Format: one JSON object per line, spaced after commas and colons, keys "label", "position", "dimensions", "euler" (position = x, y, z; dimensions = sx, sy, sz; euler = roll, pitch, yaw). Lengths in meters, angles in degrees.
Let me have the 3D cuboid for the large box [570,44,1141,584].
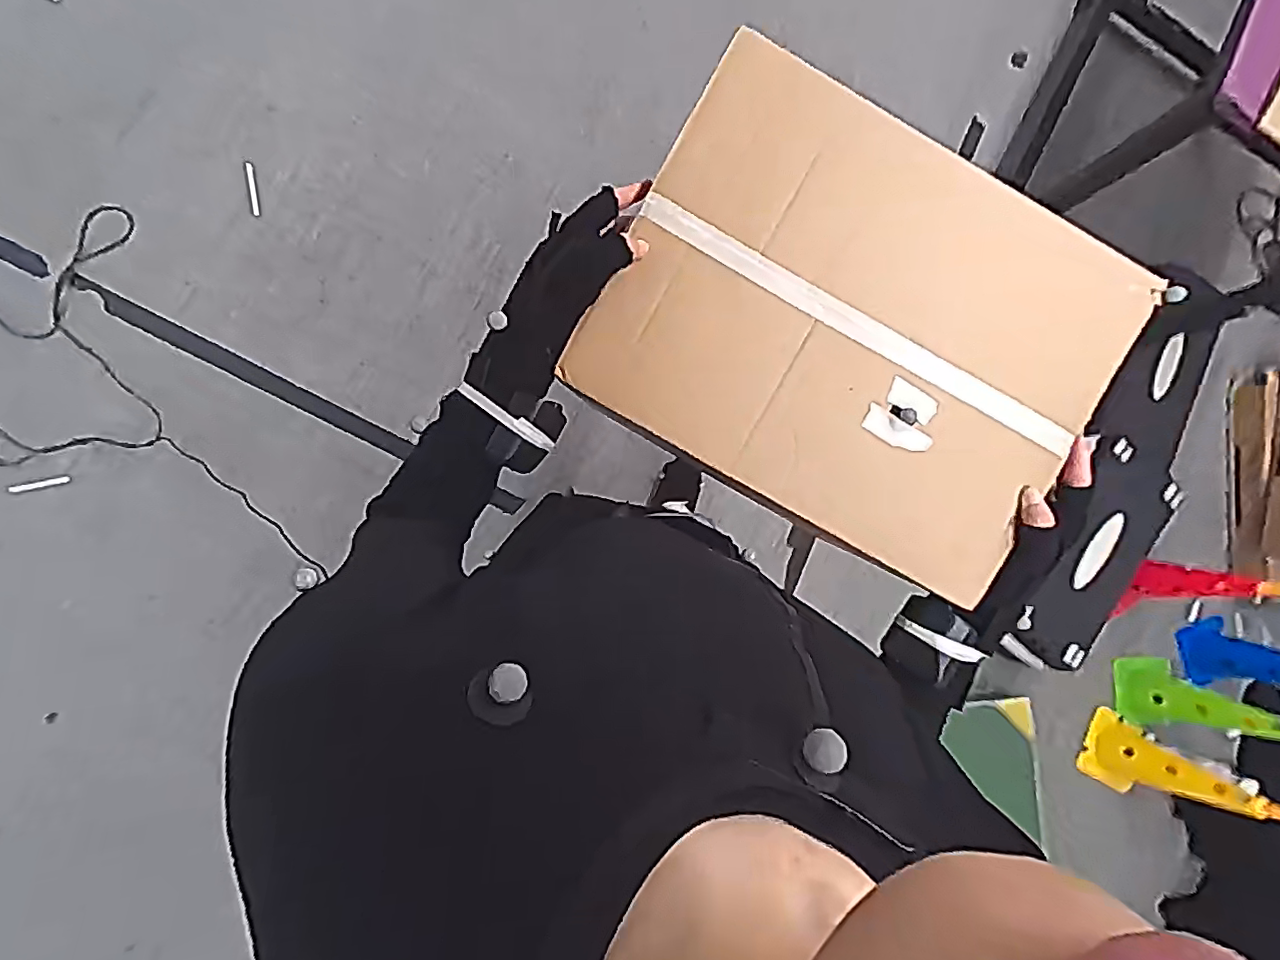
{"label": "large box", "position": [0.178, -0.142, 0.604], "dimensions": [0.408, 0.320, 0.320], "euler": [29, 94, -3]}
